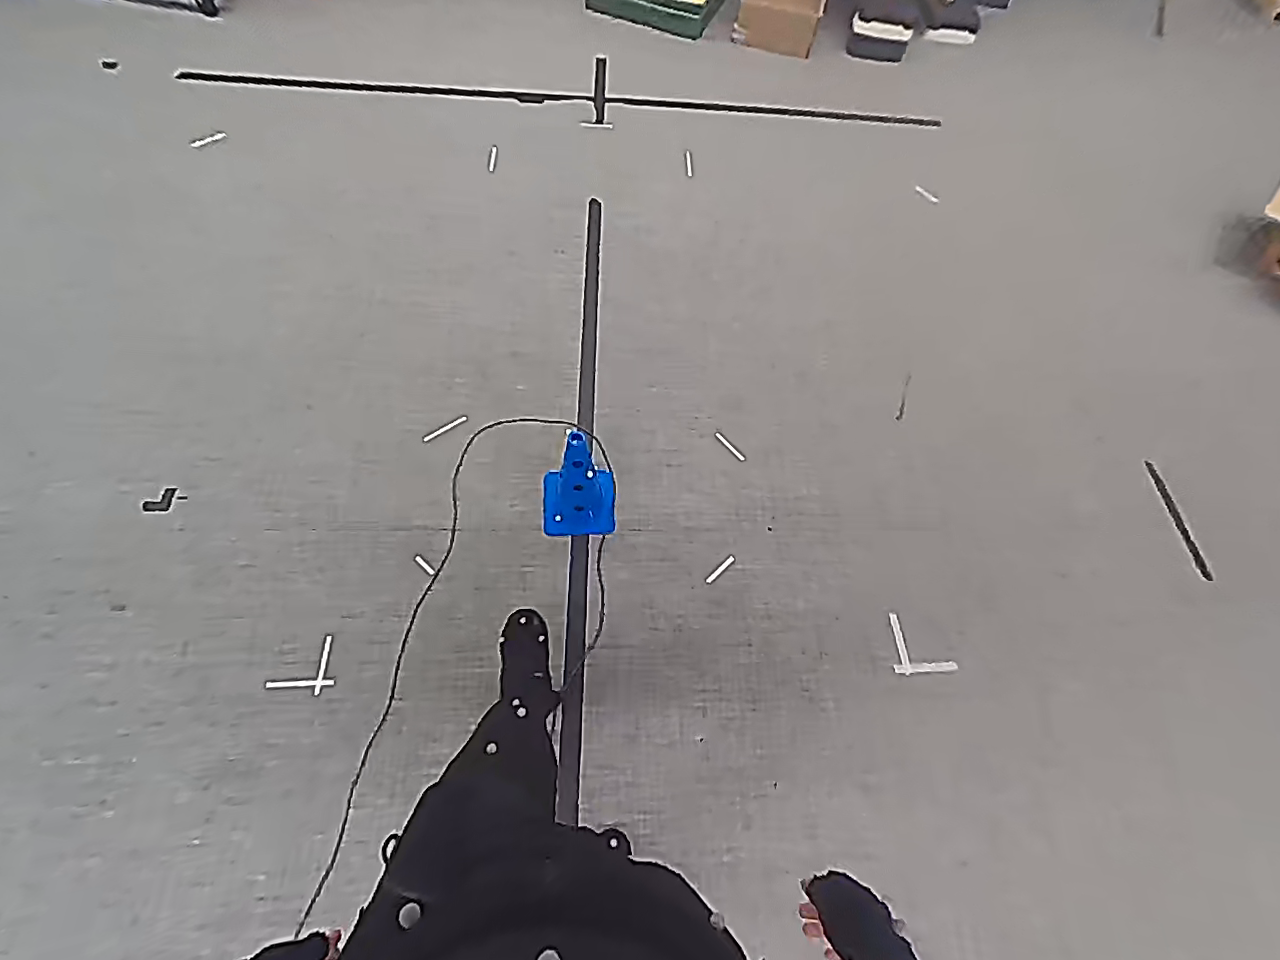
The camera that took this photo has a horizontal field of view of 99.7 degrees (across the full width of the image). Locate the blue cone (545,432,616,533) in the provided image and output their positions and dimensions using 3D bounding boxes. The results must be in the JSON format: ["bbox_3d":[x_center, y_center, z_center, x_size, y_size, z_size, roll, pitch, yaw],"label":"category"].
[{"bbox_3d":[-0.152,-0.017,1.367,0.192,0.380,0.193,-3,65,-7],"label":"blue cone"}]
